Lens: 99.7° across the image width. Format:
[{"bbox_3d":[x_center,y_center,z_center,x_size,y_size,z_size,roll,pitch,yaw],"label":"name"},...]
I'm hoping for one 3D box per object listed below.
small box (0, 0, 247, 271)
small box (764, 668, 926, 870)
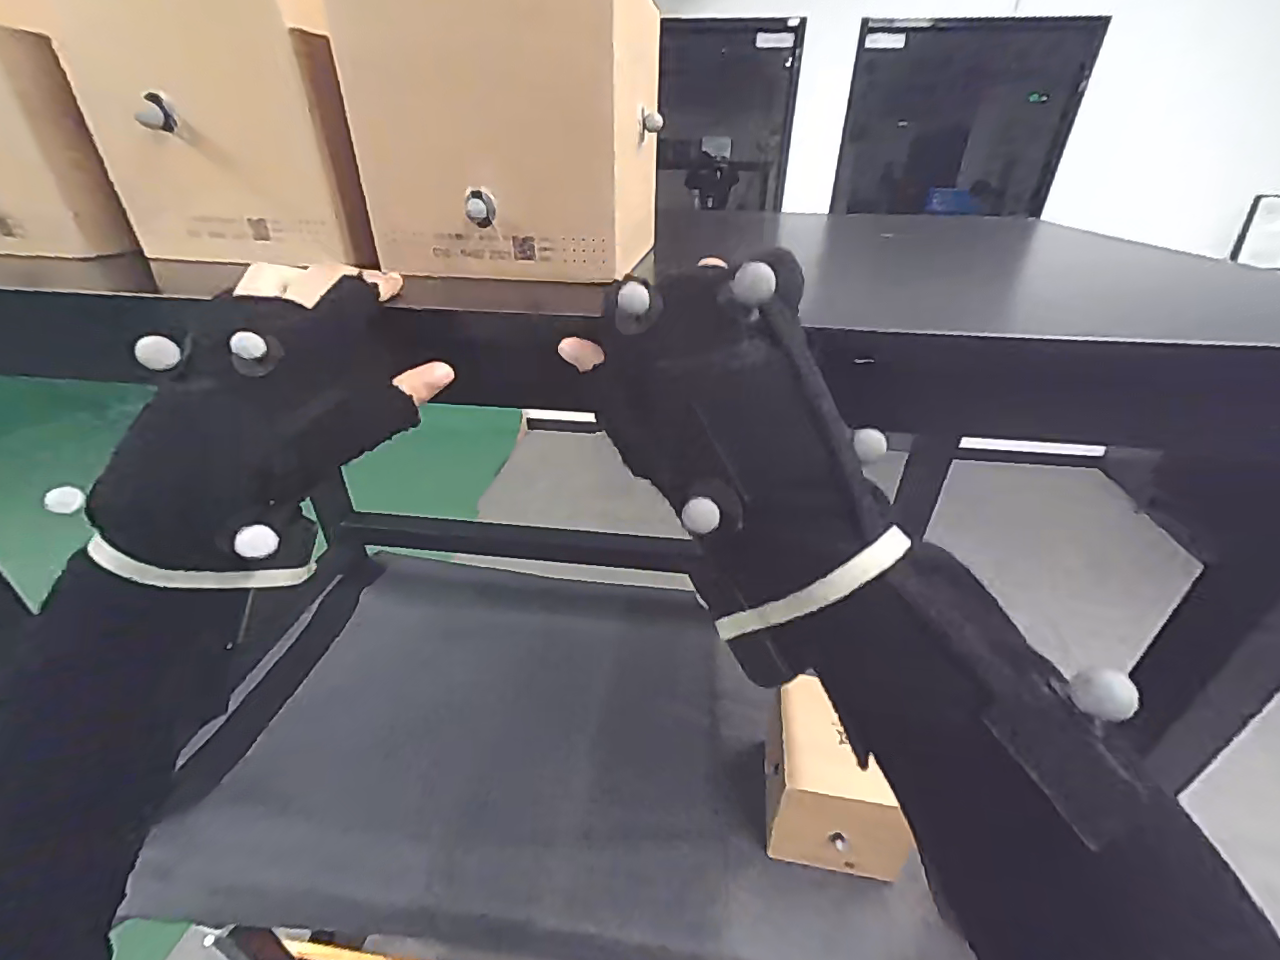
[{"bbox_3d":[-0.466,-0.278,0.439,0.168,0.176,0.179,5,33,7],"label":"small box"},{"bbox_3d":[0.267,0.396,0.748,0.168,0.176,0.179,6,31,8],"label":"small box"}]
